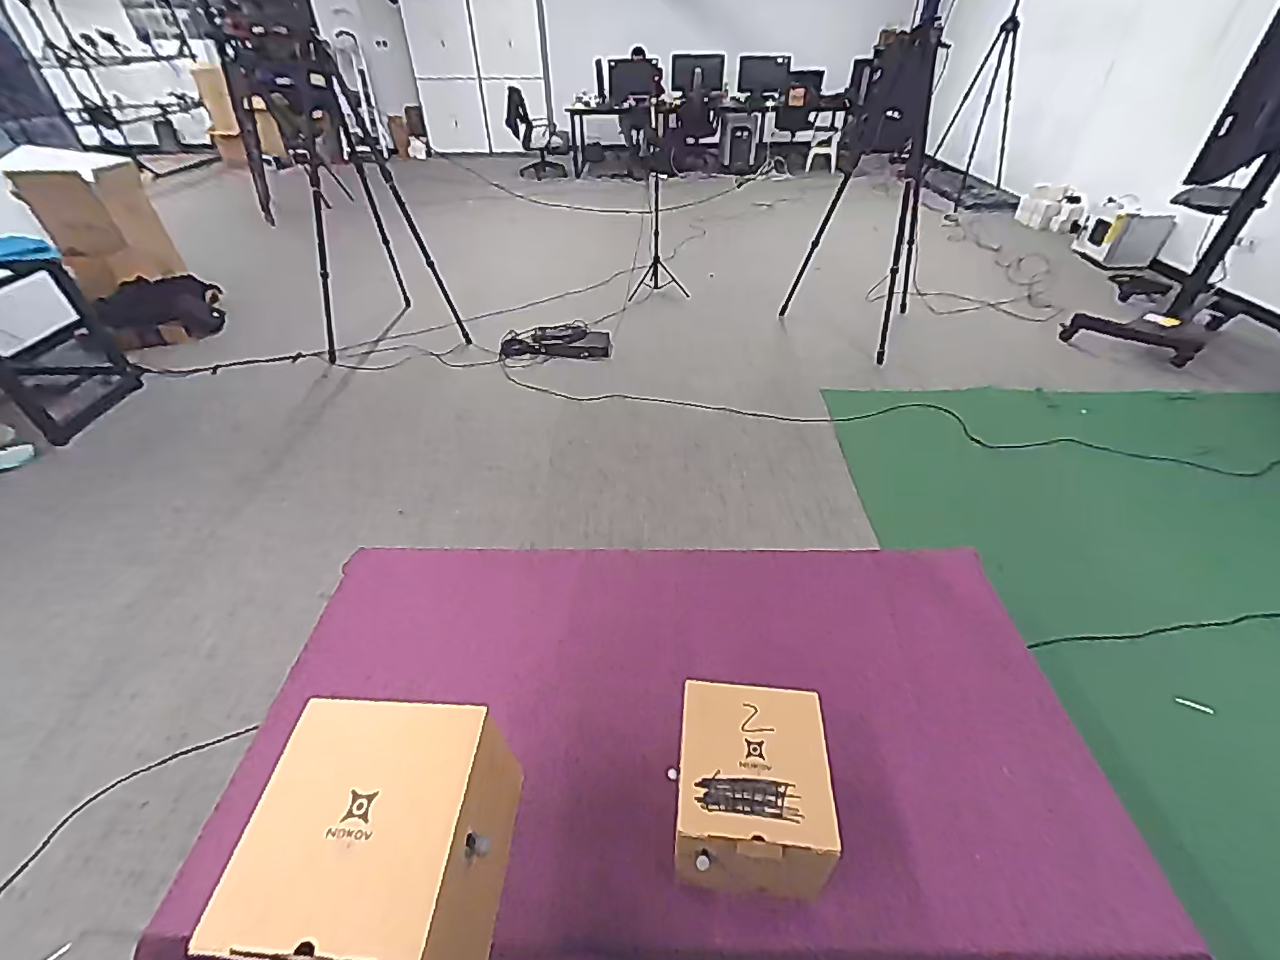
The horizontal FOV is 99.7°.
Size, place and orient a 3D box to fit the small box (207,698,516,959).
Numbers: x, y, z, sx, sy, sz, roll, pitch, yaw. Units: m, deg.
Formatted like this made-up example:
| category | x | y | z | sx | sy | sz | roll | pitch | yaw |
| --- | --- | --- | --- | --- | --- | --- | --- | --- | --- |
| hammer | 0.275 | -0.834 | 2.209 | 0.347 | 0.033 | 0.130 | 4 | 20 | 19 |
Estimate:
| category | x | y | z | sx | sy | sz | roll | pitch | yaw |
| --- | --- | --- | --- | --- | --- | --- | --- | --- | --- |
| small box | -0.220 | 0.323 | 0.492 | 0.168 | 0.176 | 0.179 | 1 | 46 | 4 |
